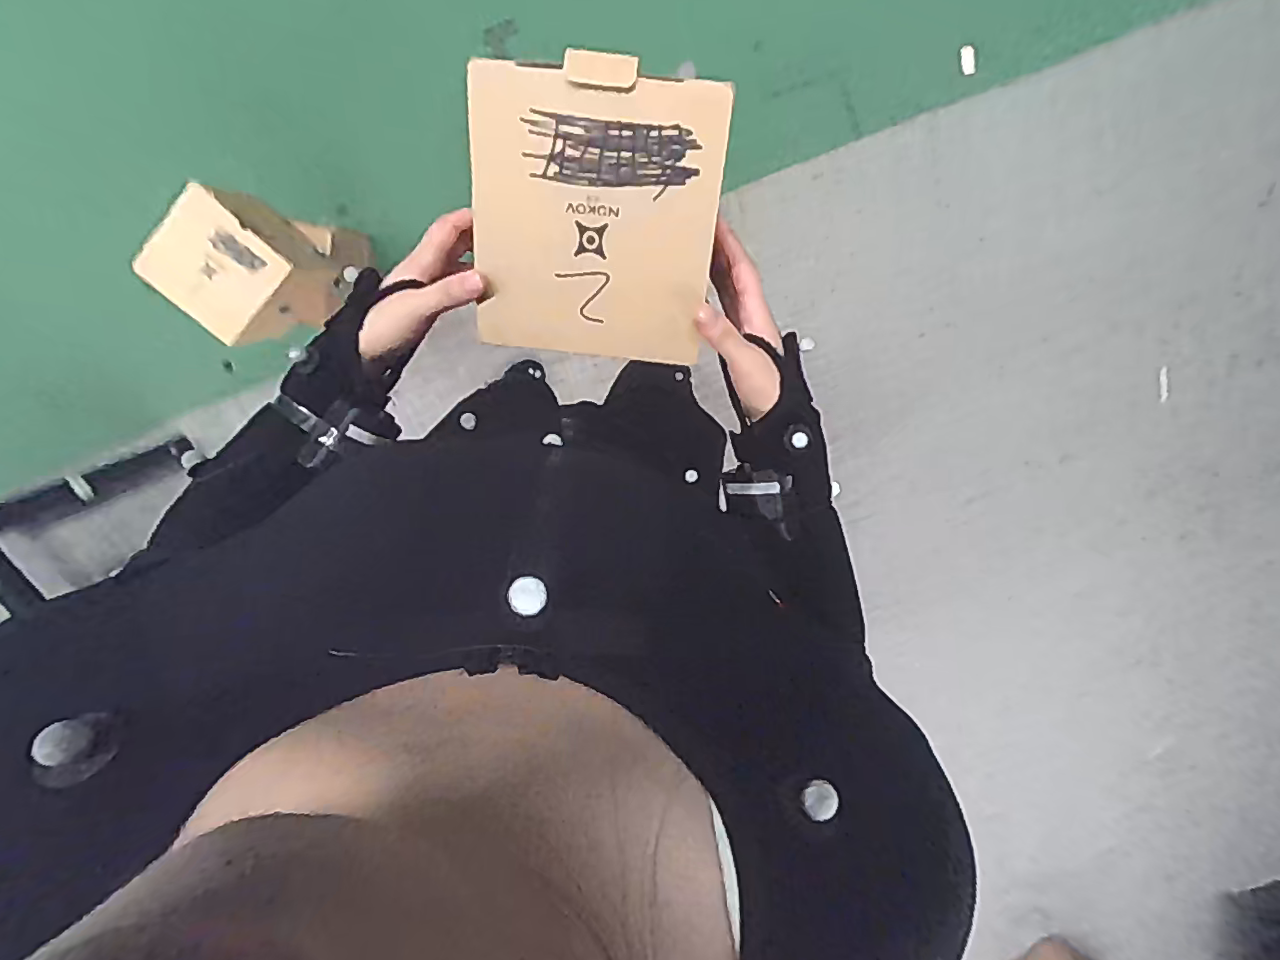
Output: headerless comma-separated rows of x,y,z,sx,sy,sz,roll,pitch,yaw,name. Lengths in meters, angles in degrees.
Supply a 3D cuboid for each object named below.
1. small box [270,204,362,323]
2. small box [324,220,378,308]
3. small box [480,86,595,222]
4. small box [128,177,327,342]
-0.658,-0.416,1.040,0.168,0.176,0.179,14,108,-11,small box
-0.702,-0.468,1.191,0.168,0.176,0.179,-5,110,-4,small box
-0.210,-0.678,1.150,0.168,0.176,0.179,-29,109,6,small box
-0.654,-0.356,0.886,0.179,0.176,0.168,-42,109,12,small box
